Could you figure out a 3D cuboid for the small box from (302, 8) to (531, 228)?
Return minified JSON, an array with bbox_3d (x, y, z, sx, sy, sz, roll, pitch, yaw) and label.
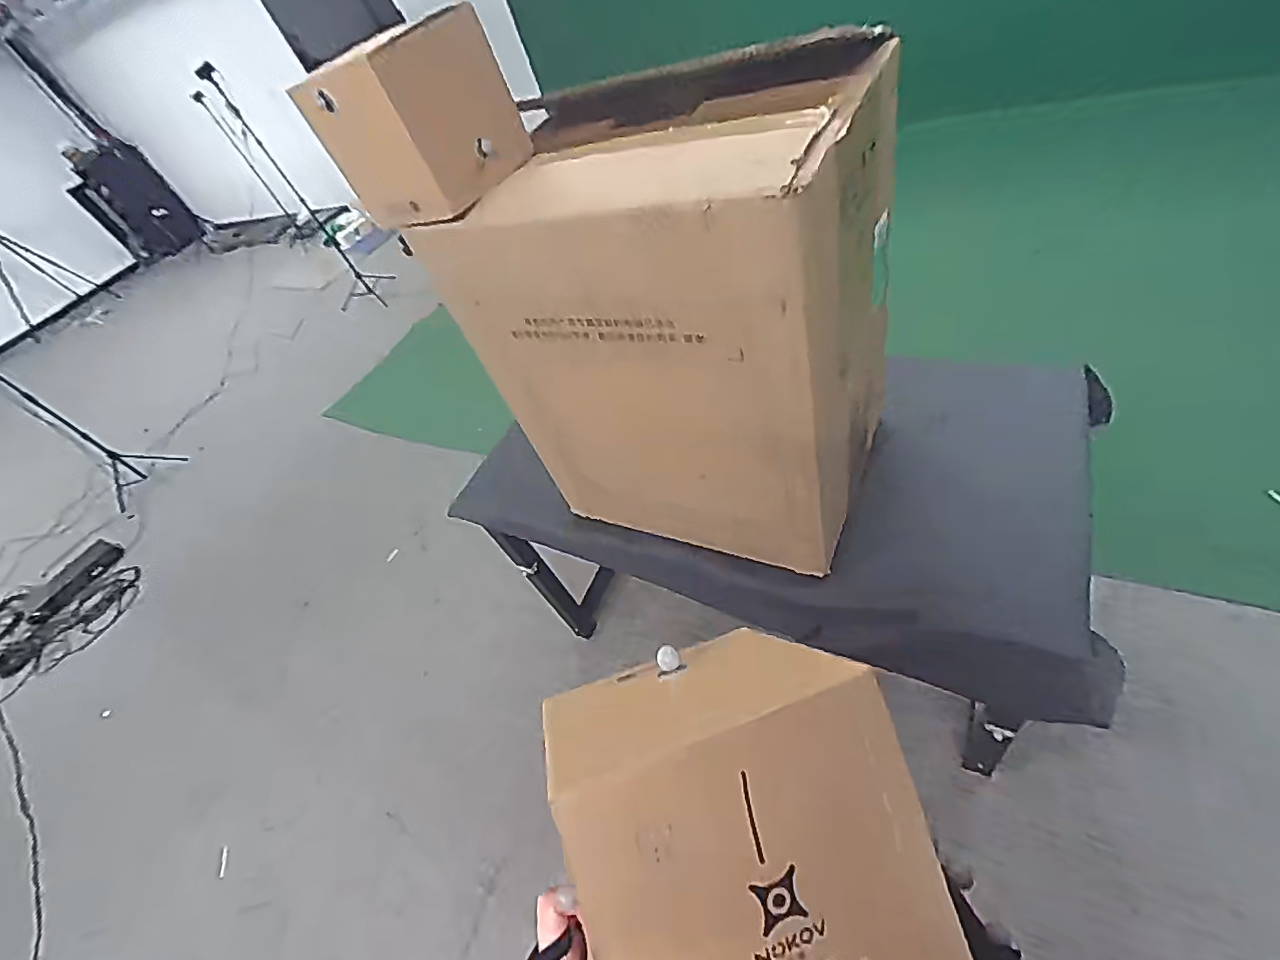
[{"bbox_3d":[-0.263,-0.442,0.680,0.168,0.176,0.179,11,54,34],"label":"small box"}]
